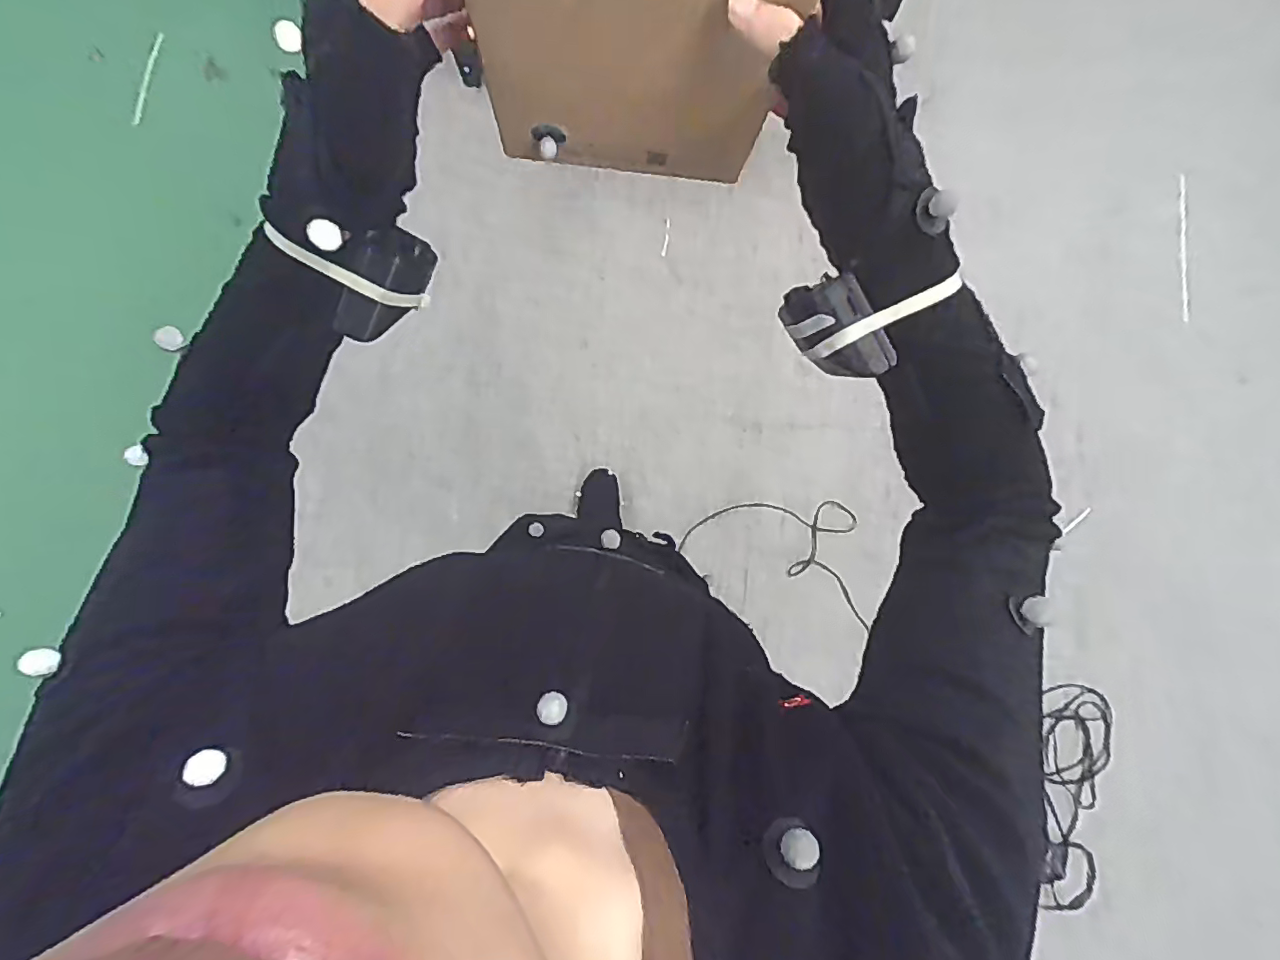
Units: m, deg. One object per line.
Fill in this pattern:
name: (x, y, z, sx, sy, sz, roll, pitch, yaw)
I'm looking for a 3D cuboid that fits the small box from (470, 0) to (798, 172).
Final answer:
small box: (-0.001, -0.310, 0.306, 0.168, 0.176, 0.179, 4, 86, -5)
